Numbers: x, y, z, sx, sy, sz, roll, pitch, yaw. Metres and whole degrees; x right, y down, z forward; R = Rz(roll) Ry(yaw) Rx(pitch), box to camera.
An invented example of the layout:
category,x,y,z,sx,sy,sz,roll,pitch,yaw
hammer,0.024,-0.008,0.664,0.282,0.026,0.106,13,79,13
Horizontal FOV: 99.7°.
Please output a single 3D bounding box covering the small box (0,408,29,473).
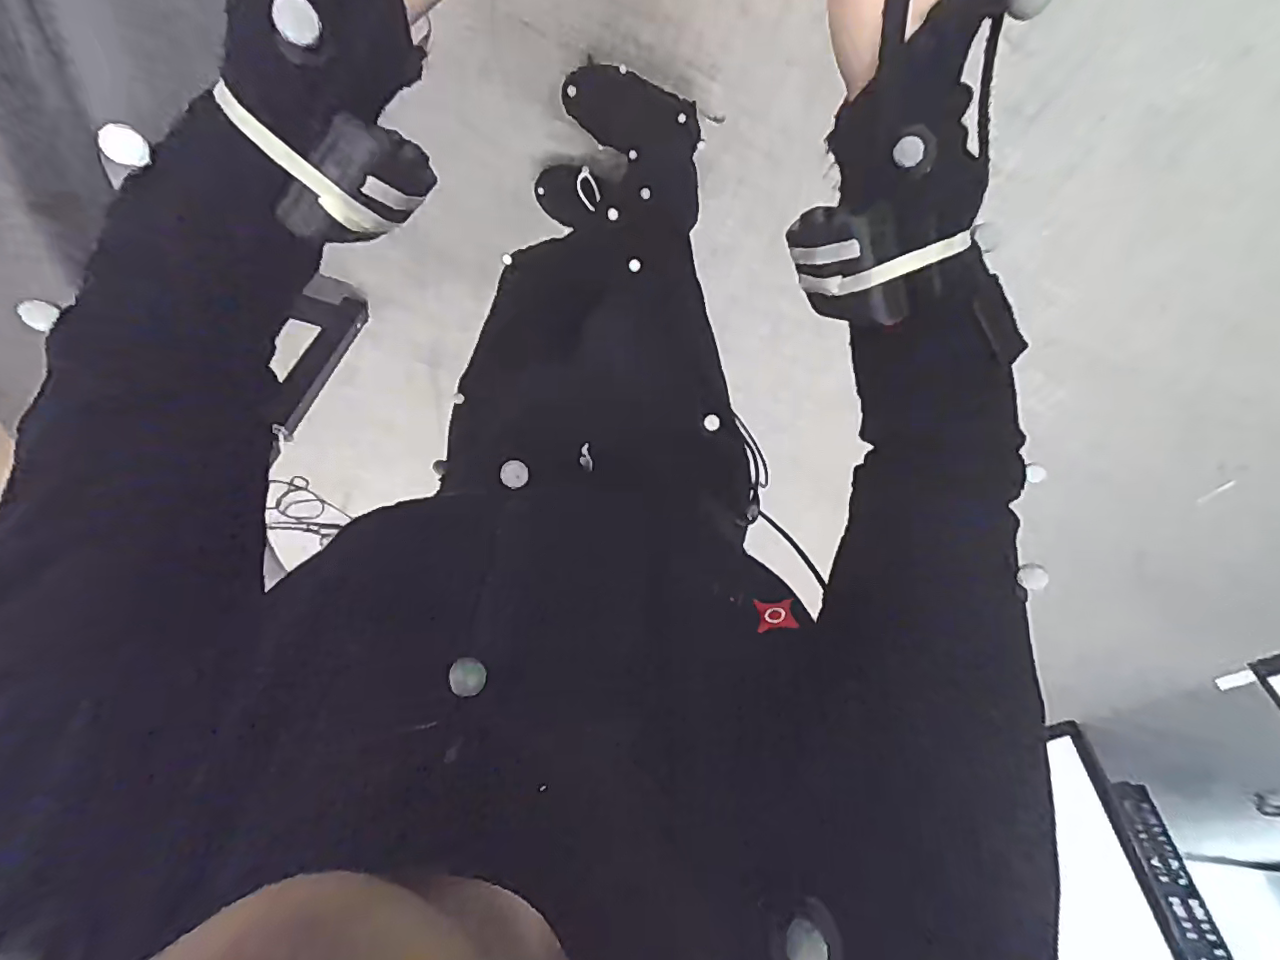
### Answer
category,x,y,z,sx,sy,sz,roll,pitch,yaw
small box,-0.736,-0.038,0.476,0.179,0.176,0.168,13,138,-12
